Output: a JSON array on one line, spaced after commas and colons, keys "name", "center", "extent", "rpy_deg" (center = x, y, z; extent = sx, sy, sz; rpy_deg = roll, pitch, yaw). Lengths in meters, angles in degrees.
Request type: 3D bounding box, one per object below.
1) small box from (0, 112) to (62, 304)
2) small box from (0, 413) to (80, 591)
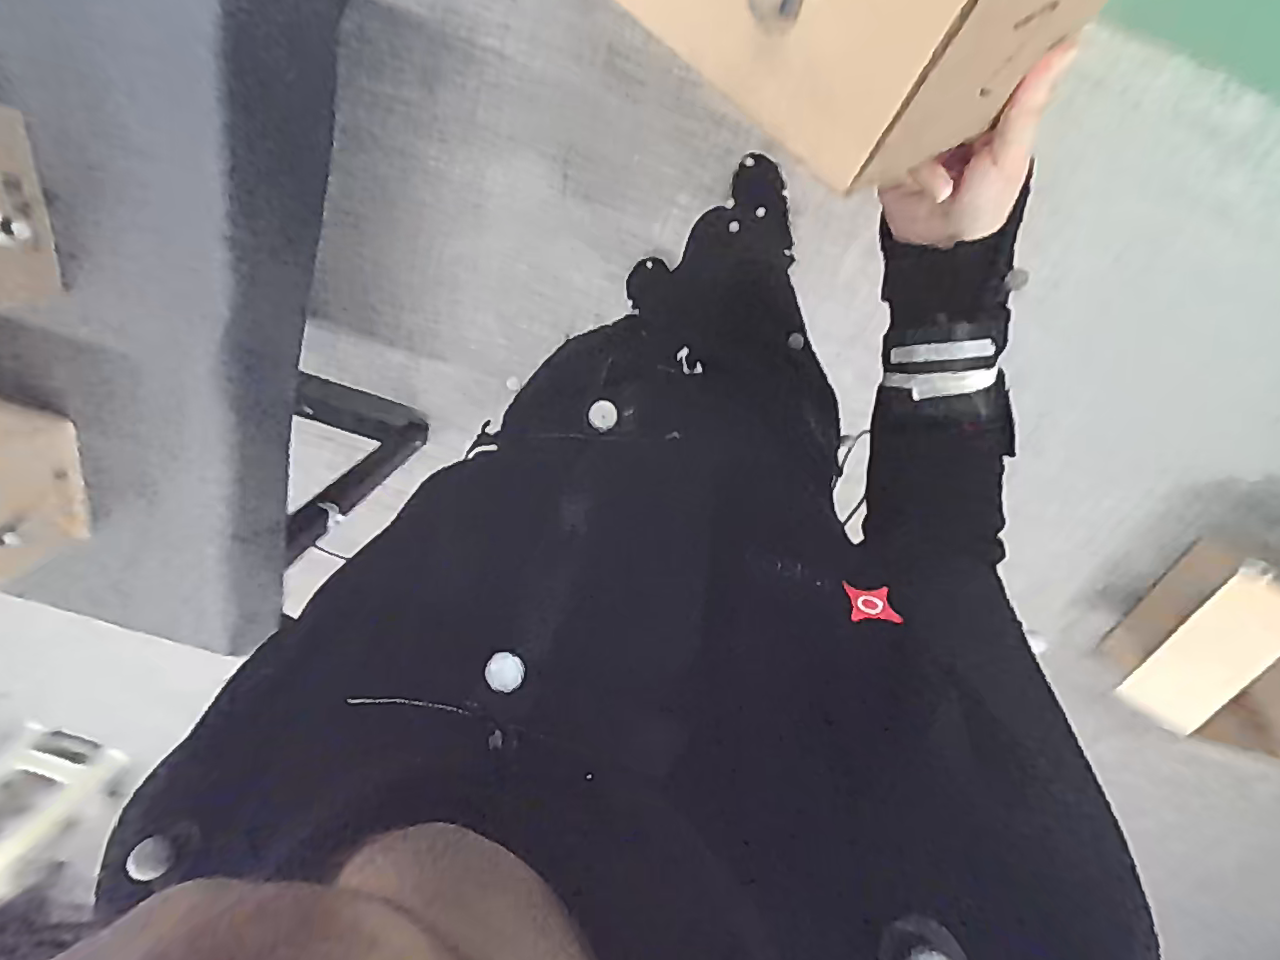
[{"name": "small box", "center": [-0.655, -0.234, 0.439], "extent": [0.179, 0.176, 0.168], "rpy_deg": [11, 117, -2]}, {"name": "small box", "center": [-0.748, 0.021, 0.565], "extent": [0.179, 0.176, 0.168], "rpy_deg": [17, 115, -3]}]
